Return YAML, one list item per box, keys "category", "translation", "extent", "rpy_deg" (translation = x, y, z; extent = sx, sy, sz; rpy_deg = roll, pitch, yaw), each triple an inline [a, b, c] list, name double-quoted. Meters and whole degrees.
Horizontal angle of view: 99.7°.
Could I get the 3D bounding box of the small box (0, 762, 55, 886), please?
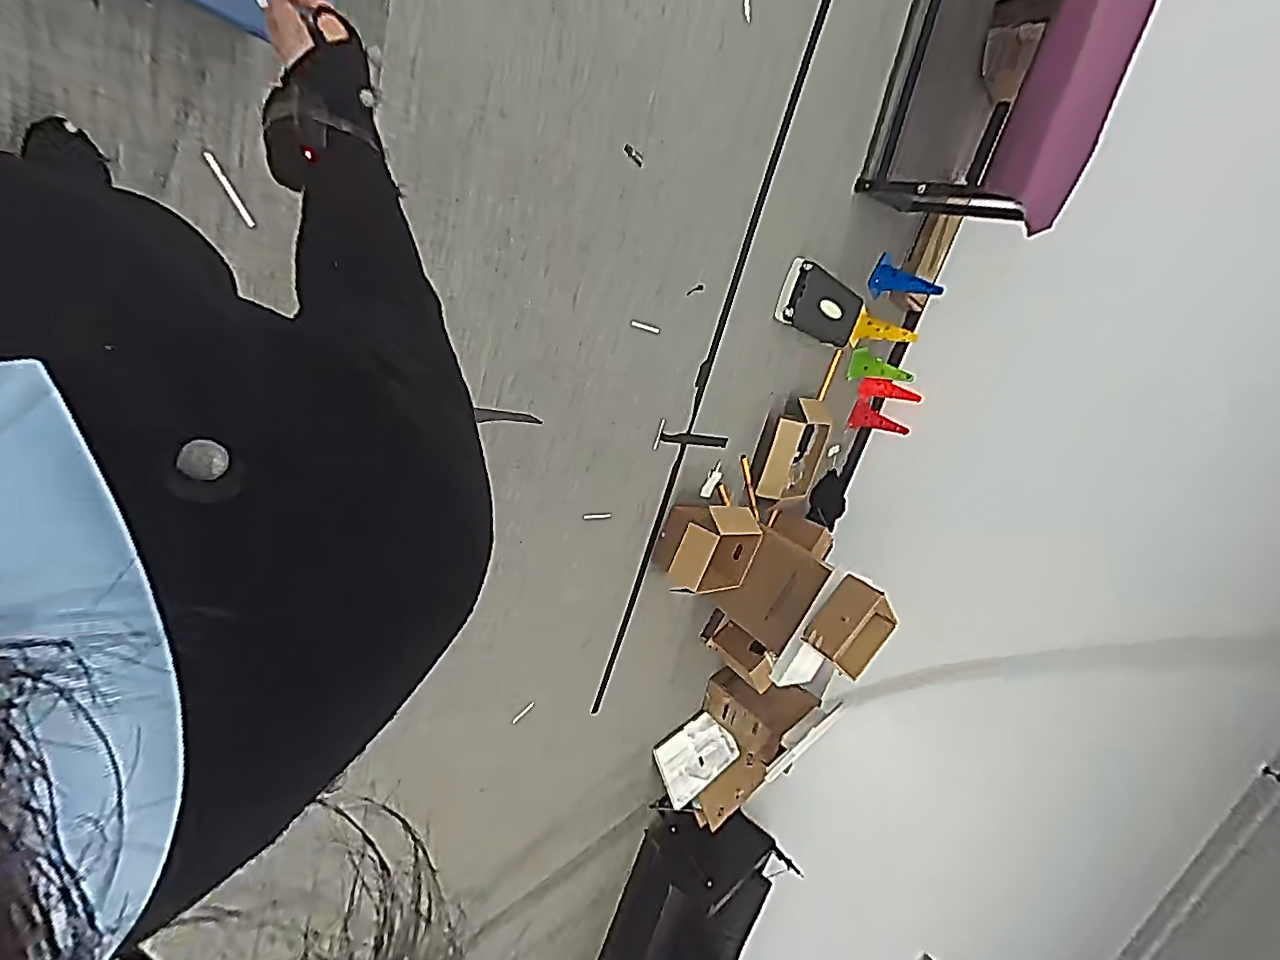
- category: "small box"
  translation: [-1.435, 0.782, 1.211]
  extent: [0.168, 0.176, 0.179]
  rpy_deg: [-3, 115, -47]
